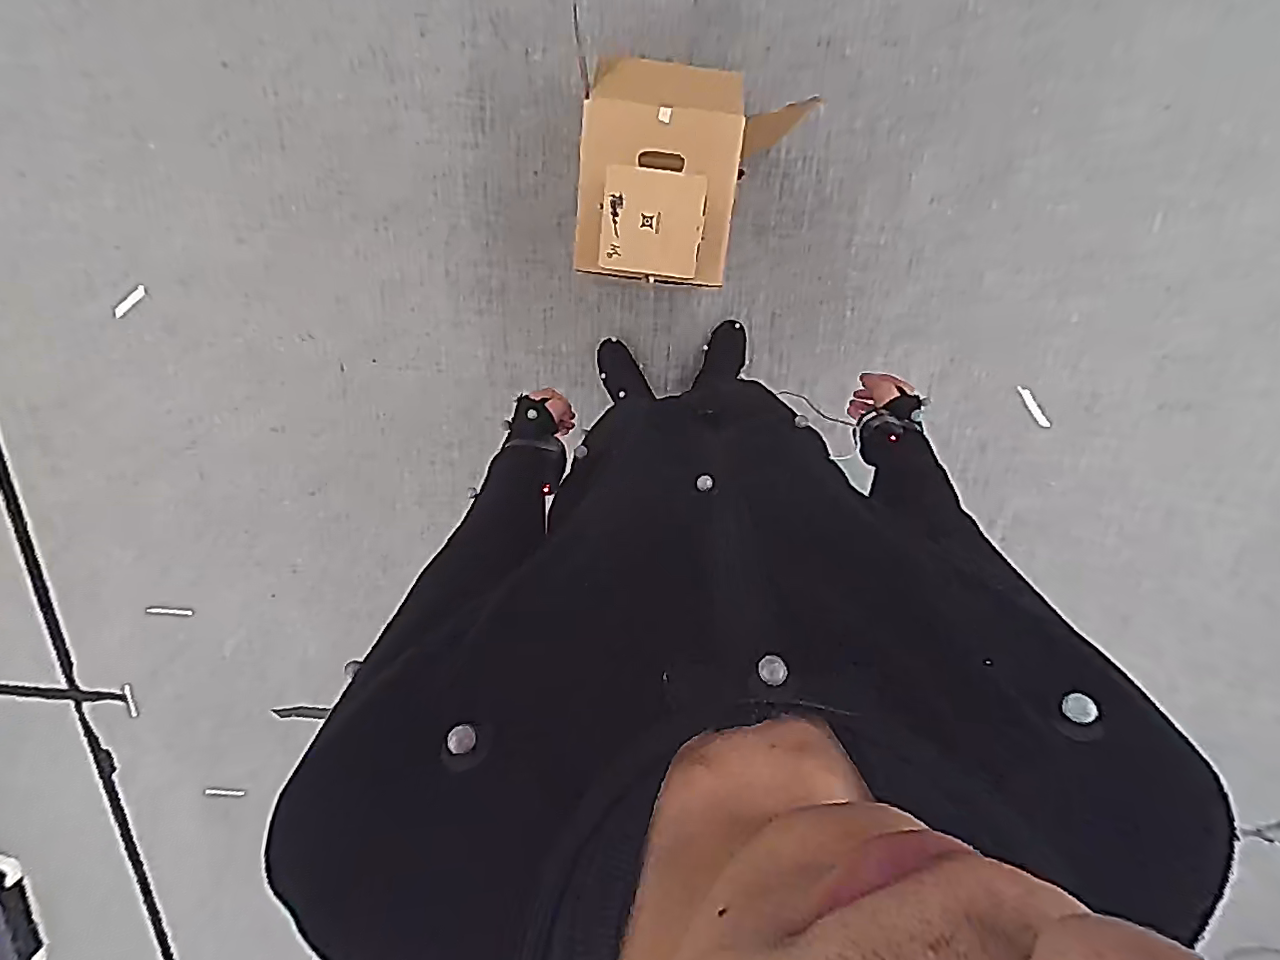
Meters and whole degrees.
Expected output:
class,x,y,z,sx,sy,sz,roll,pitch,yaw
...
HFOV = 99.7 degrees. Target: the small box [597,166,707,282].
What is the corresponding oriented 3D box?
class,x,y,z,sx,sy,sz,roll,pitch,yaw
small box,0.018,-0.473,1.018,0.179,0.176,0.168,7,110,-2
